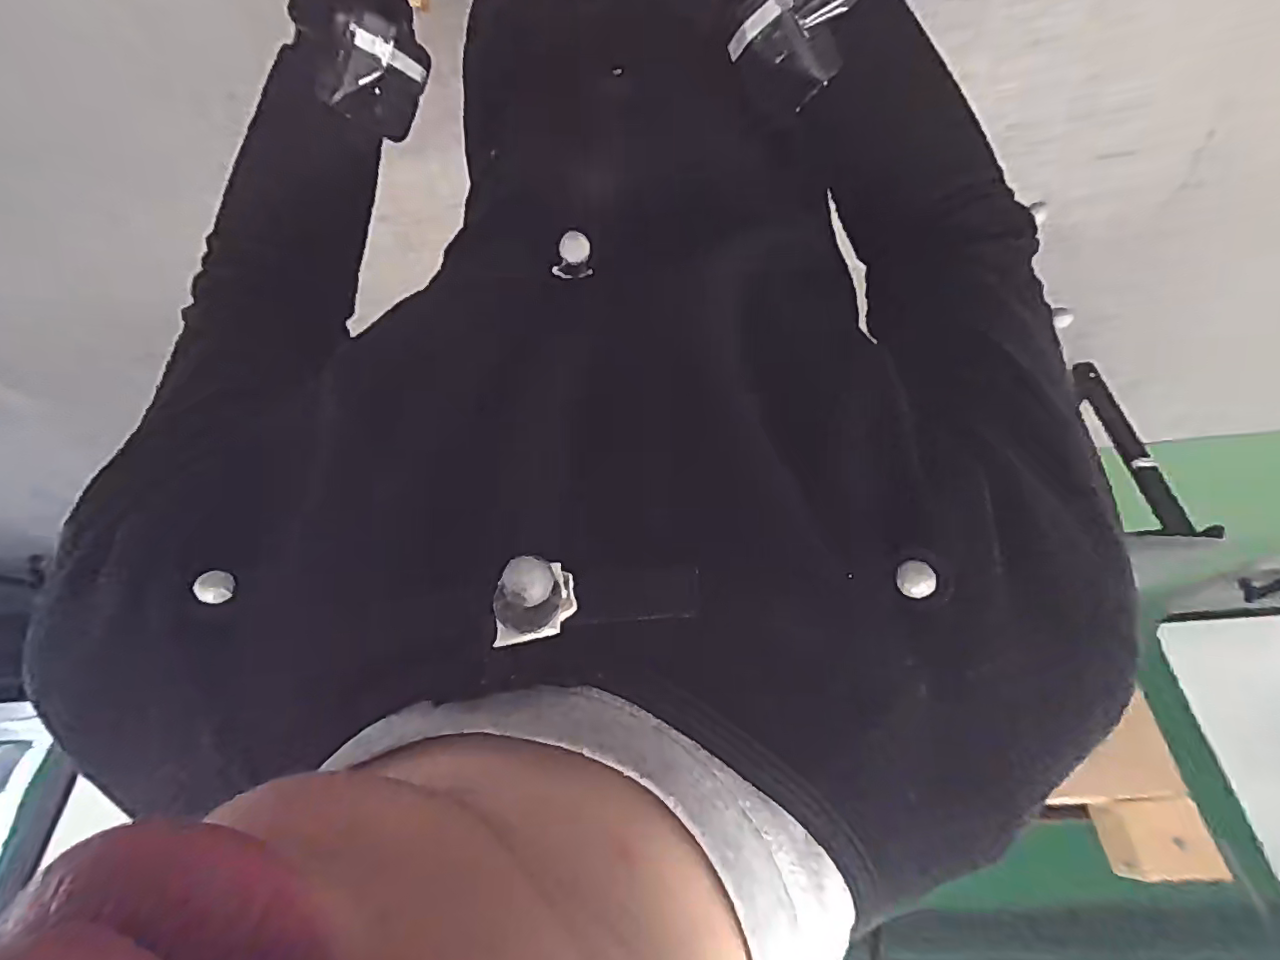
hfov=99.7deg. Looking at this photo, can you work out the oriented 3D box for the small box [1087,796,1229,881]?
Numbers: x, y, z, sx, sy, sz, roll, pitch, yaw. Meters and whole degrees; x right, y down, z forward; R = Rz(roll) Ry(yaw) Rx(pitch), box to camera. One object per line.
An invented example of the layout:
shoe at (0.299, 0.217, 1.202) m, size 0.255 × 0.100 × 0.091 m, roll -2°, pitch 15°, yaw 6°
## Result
small box at (1.324, 0.920, 1.400) m, size 0.179 × 0.176 × 0.168 m, roll -9°, pitch 147°, yaw 9°
